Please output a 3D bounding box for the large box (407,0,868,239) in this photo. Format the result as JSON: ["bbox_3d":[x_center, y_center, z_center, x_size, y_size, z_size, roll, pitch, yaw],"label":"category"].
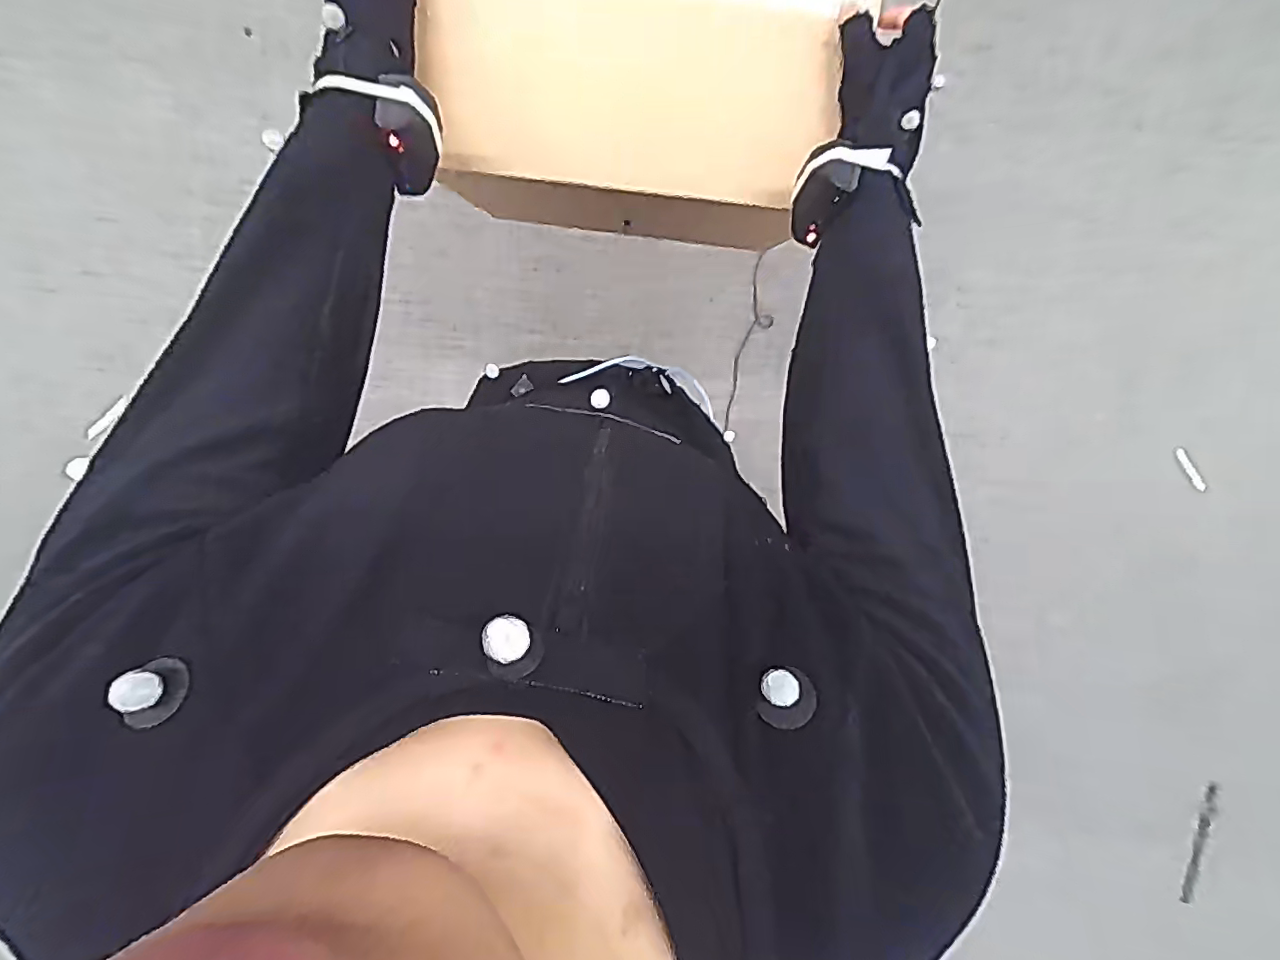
[{"bbox_3d":[0.003,-0.466,0.604,0.408,0.320,0.320,6,106,-1],"label":"large box"}]
